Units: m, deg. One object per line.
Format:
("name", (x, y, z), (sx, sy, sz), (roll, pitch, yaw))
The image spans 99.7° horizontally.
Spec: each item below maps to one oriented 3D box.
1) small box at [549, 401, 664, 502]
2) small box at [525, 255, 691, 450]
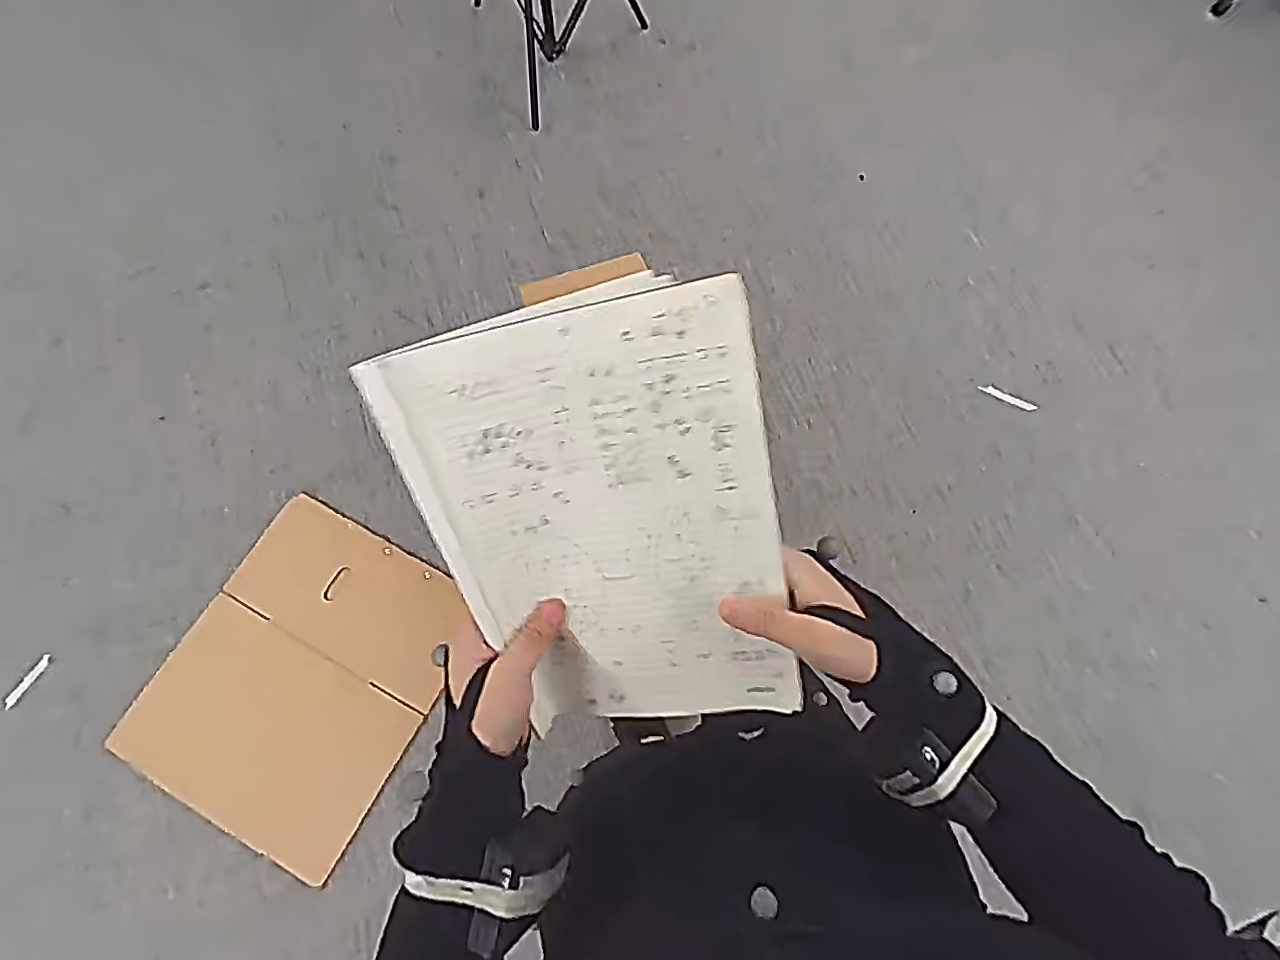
("small box", (-0.063, -0.069, 1.055), (0.168, 0.176, 0.179), (-21, 75, -8))
("small box", (-0.044, -0.165, 0.741), (0.168, 0.176, 0.179), (-19, 75, -7))
